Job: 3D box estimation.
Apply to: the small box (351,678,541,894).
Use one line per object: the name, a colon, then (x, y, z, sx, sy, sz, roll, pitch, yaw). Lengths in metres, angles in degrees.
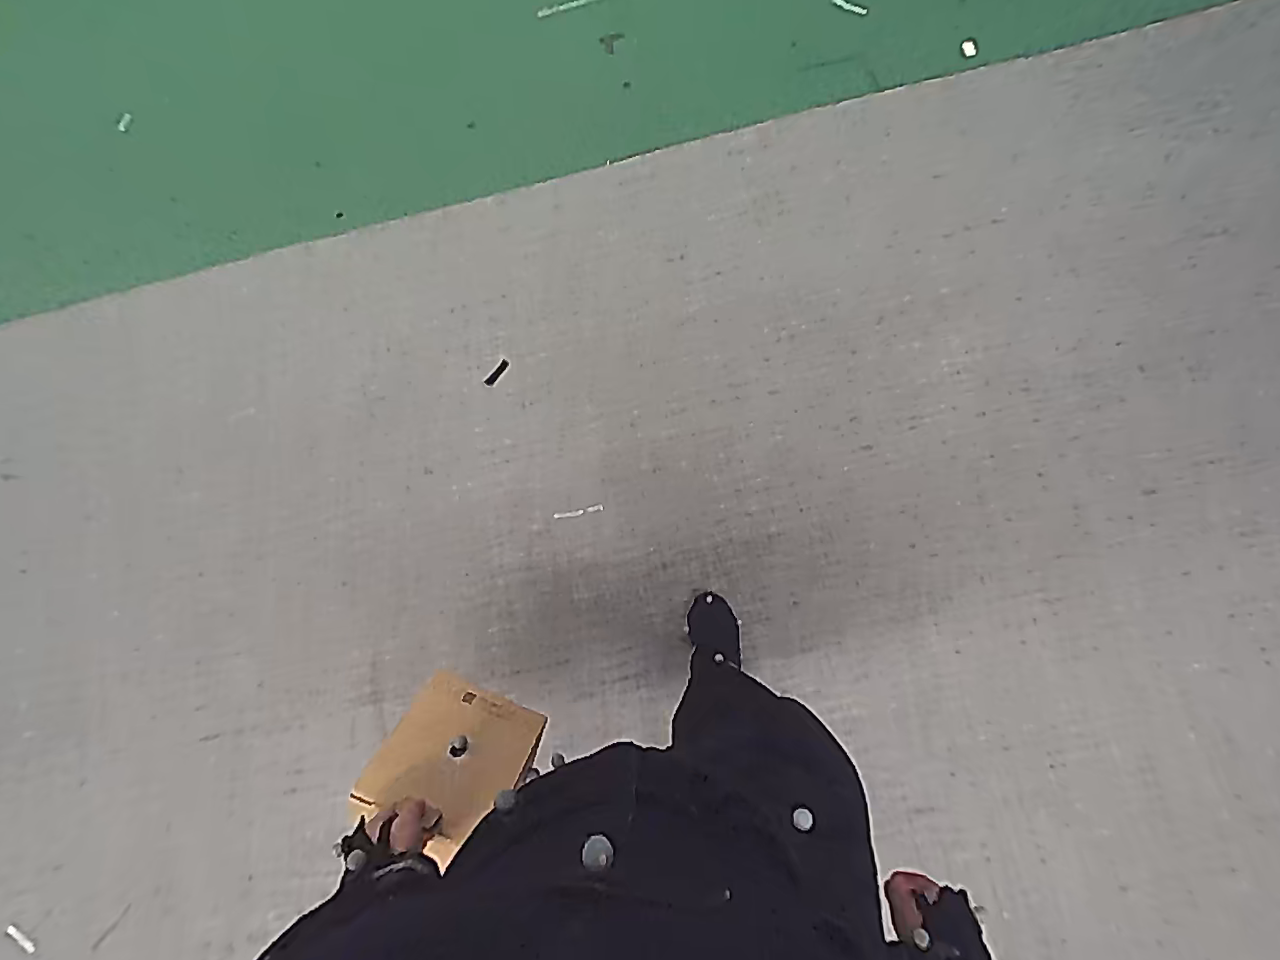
small box: (-0.241, 0.389, 0.701, 0.168, 0.179, 0.176, 21, 39, 3)
